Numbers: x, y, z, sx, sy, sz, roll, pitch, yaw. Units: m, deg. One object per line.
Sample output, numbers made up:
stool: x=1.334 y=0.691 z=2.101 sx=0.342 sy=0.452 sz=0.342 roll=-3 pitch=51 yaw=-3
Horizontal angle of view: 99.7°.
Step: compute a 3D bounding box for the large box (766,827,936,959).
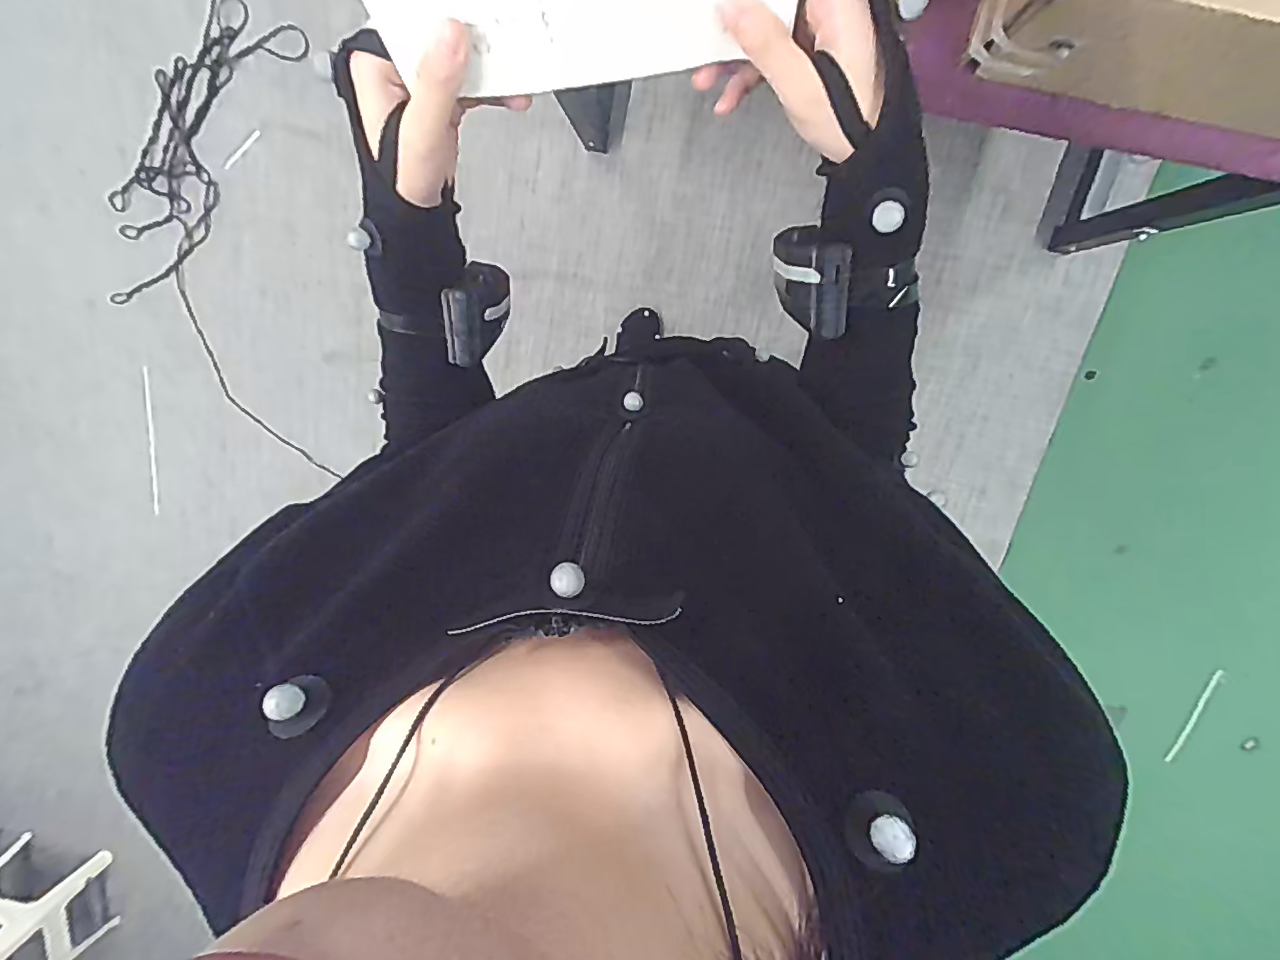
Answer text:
large box: x=0.604 y=1.296 z=1.622 sx=0.408 sy=0.320 sz=0.320 roll=-2 pitch=104 yaw=5
